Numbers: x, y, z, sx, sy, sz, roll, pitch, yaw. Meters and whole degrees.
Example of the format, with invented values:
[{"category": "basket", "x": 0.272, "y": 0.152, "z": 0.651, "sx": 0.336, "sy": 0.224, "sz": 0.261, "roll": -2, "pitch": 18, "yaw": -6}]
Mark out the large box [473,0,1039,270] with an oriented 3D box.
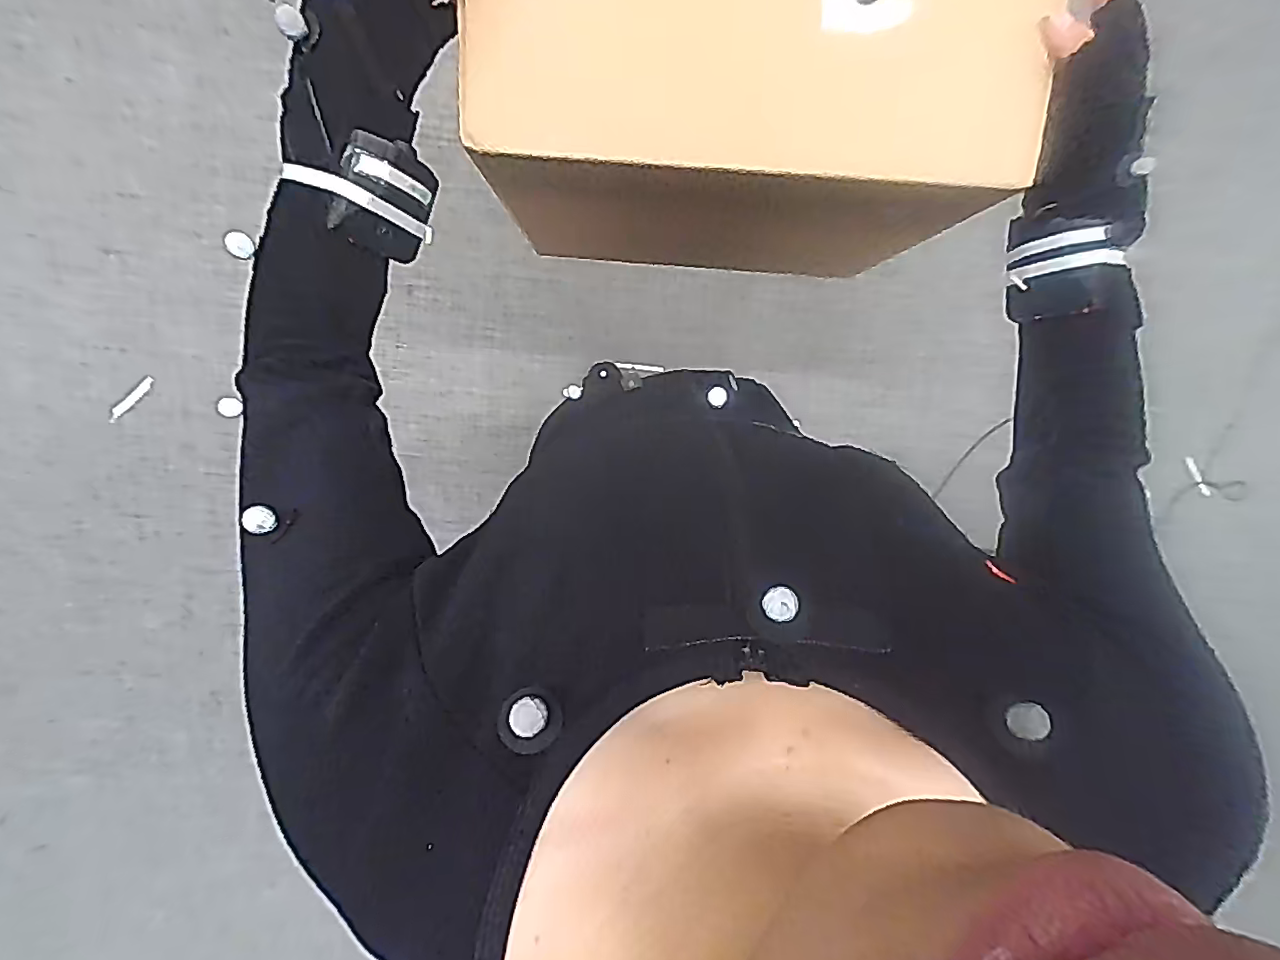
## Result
[{"category": "large box", "x": 0.080, "y": -0.402, "z": 0.517, "sx": 0.408, "sy": 0.320, "sz": 0.320, "roll": 3, "pitch": 99, "yaw": -2}]
